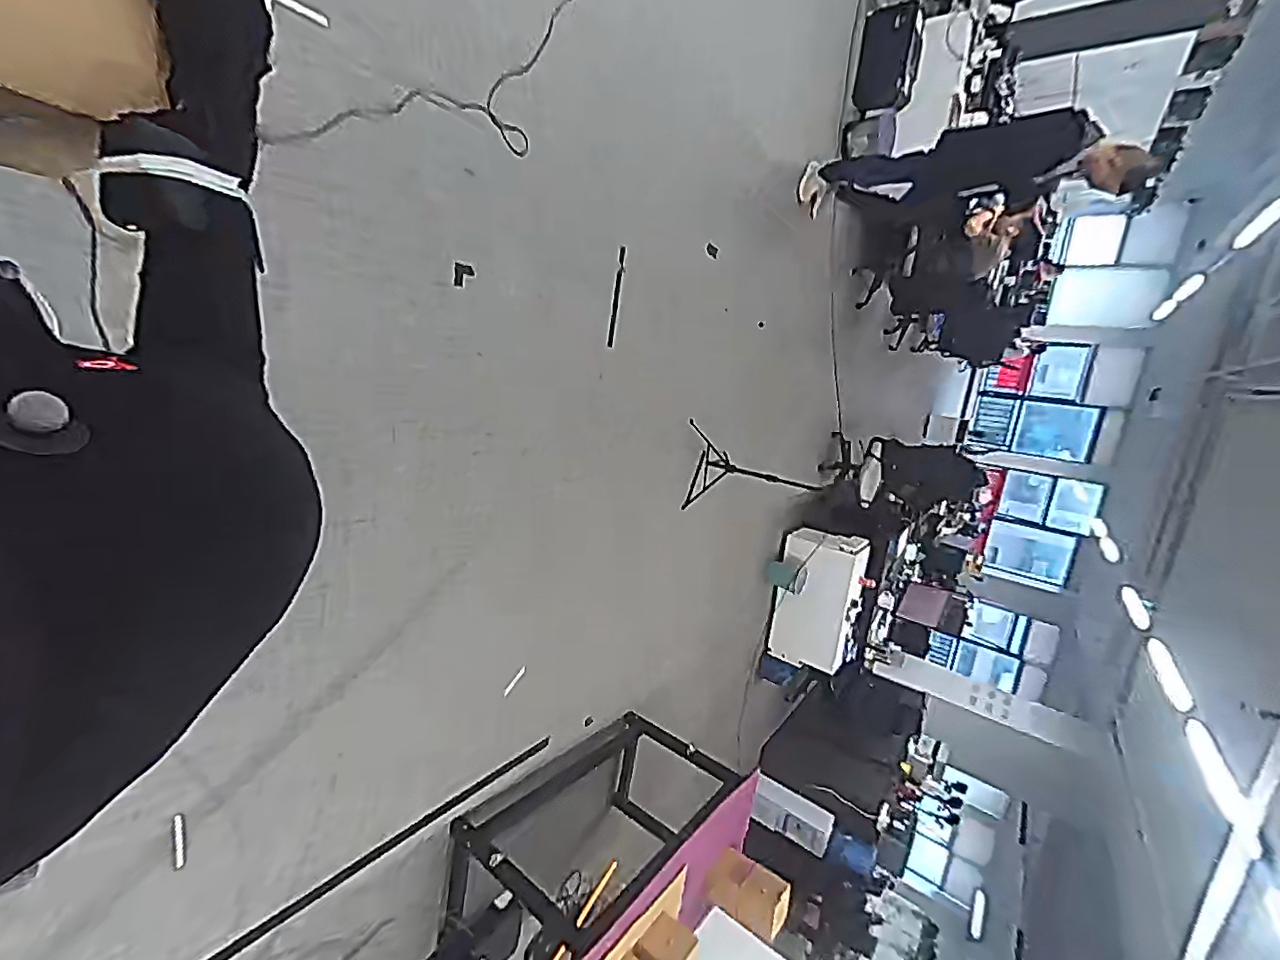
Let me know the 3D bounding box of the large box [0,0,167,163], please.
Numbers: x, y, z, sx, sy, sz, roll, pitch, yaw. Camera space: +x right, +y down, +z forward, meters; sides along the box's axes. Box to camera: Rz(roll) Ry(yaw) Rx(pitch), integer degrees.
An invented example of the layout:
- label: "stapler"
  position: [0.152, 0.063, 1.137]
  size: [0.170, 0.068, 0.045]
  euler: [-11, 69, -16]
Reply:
- label: "large box"
  position: [-0.555, -0.413, 0.274]
  size: [0.408, 0.320, 0.320]
  euler: [-8, 110, -57]
